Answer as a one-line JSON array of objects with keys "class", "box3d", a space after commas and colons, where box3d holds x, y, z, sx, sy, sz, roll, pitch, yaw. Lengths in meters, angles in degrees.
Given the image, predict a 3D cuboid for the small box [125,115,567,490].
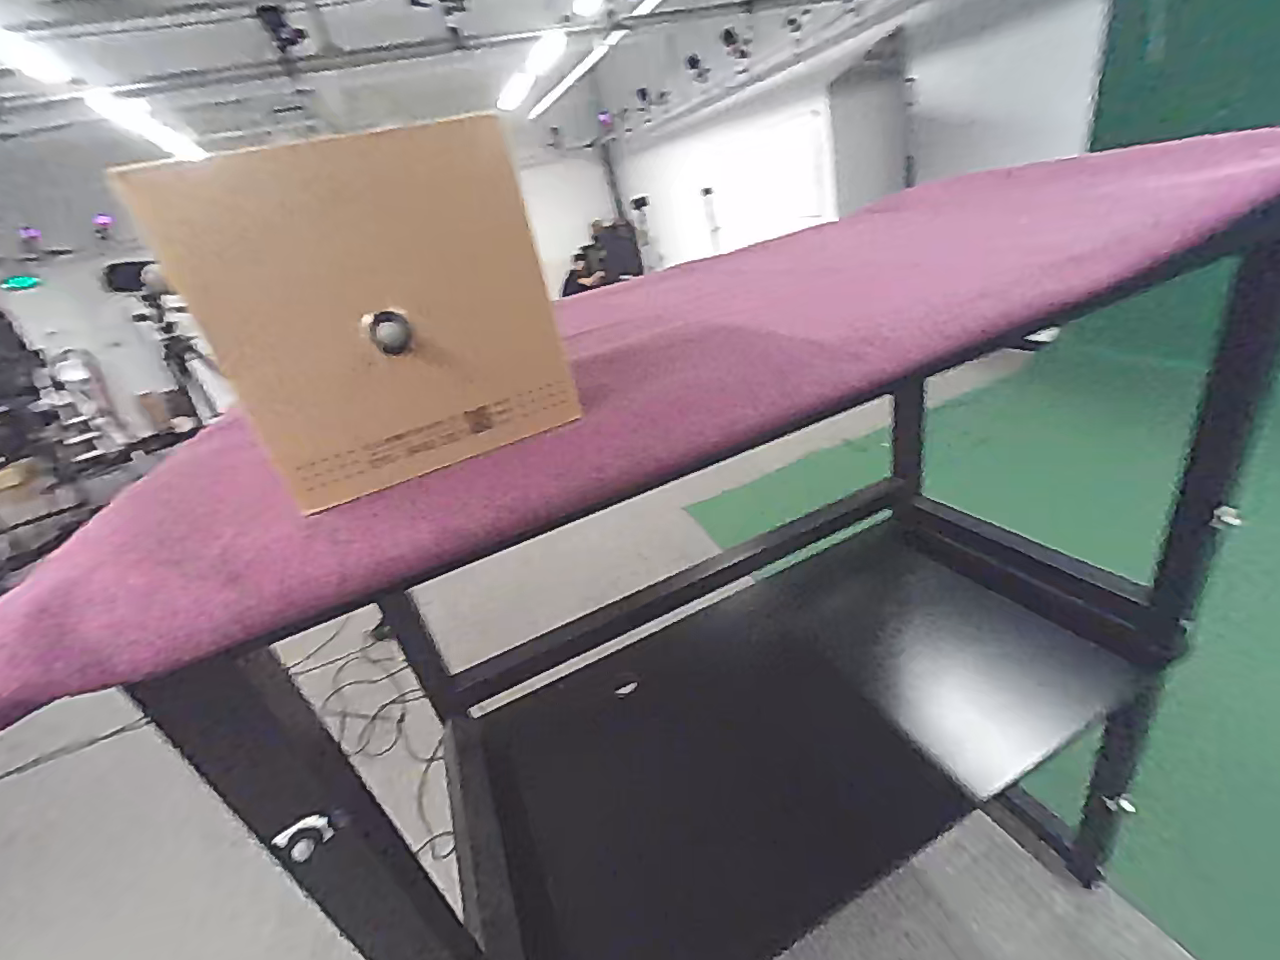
[{"class": "small box", "box3d": [-0.163, -0.110, 0.352, 0.168, 0.176, 0.179, -22, 28, -19]}]
